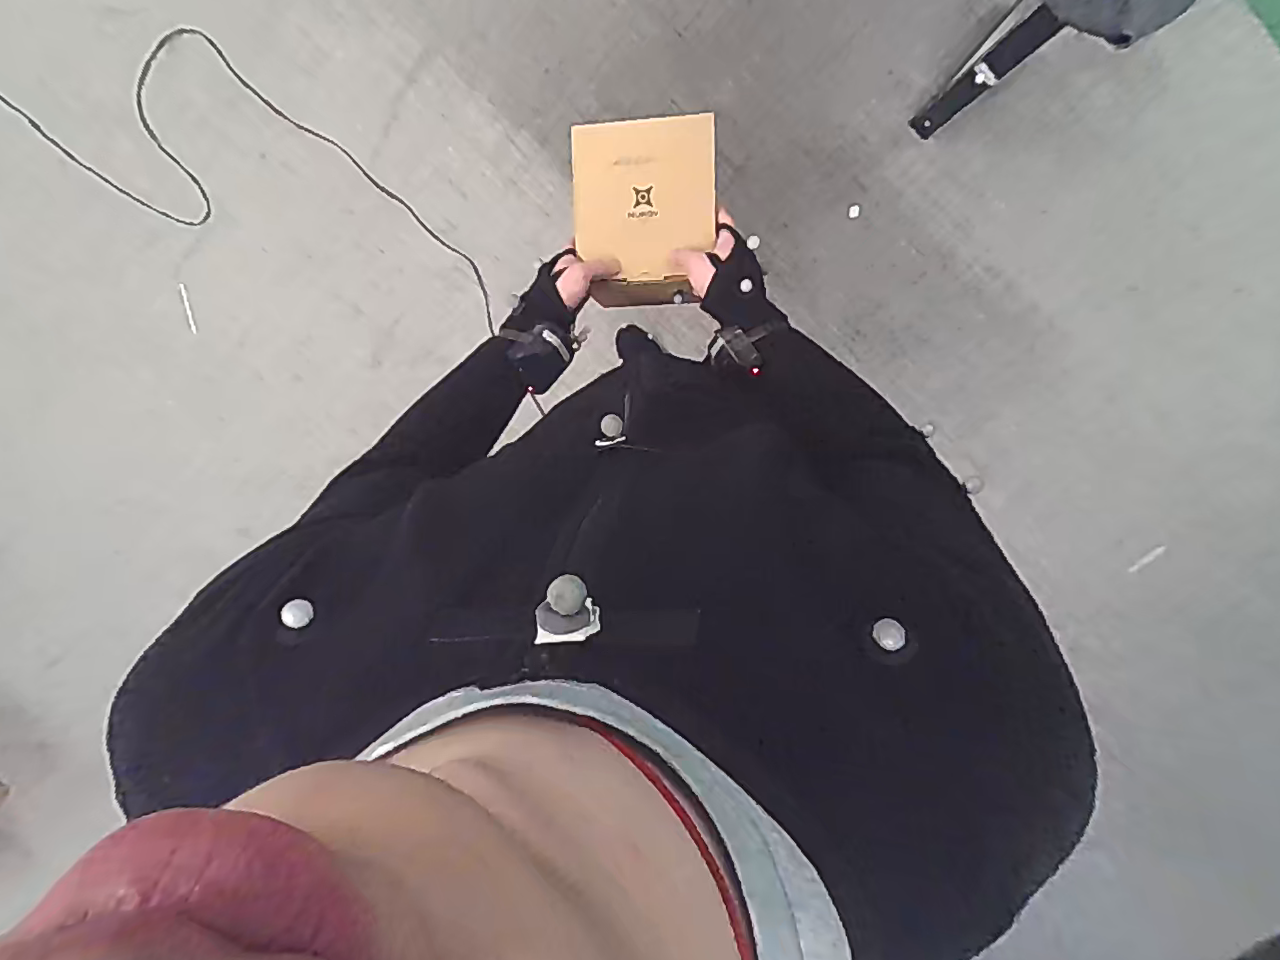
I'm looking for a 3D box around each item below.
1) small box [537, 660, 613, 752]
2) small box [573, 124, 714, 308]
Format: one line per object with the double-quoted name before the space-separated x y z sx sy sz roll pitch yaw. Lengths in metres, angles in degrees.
"small box" -0.199 0.713 1.723 0.168 0.176 0.179 39 105 -7
"small box" 0.014 -0.329 0.713 0.168 0.176 0.179 -2 97 6
